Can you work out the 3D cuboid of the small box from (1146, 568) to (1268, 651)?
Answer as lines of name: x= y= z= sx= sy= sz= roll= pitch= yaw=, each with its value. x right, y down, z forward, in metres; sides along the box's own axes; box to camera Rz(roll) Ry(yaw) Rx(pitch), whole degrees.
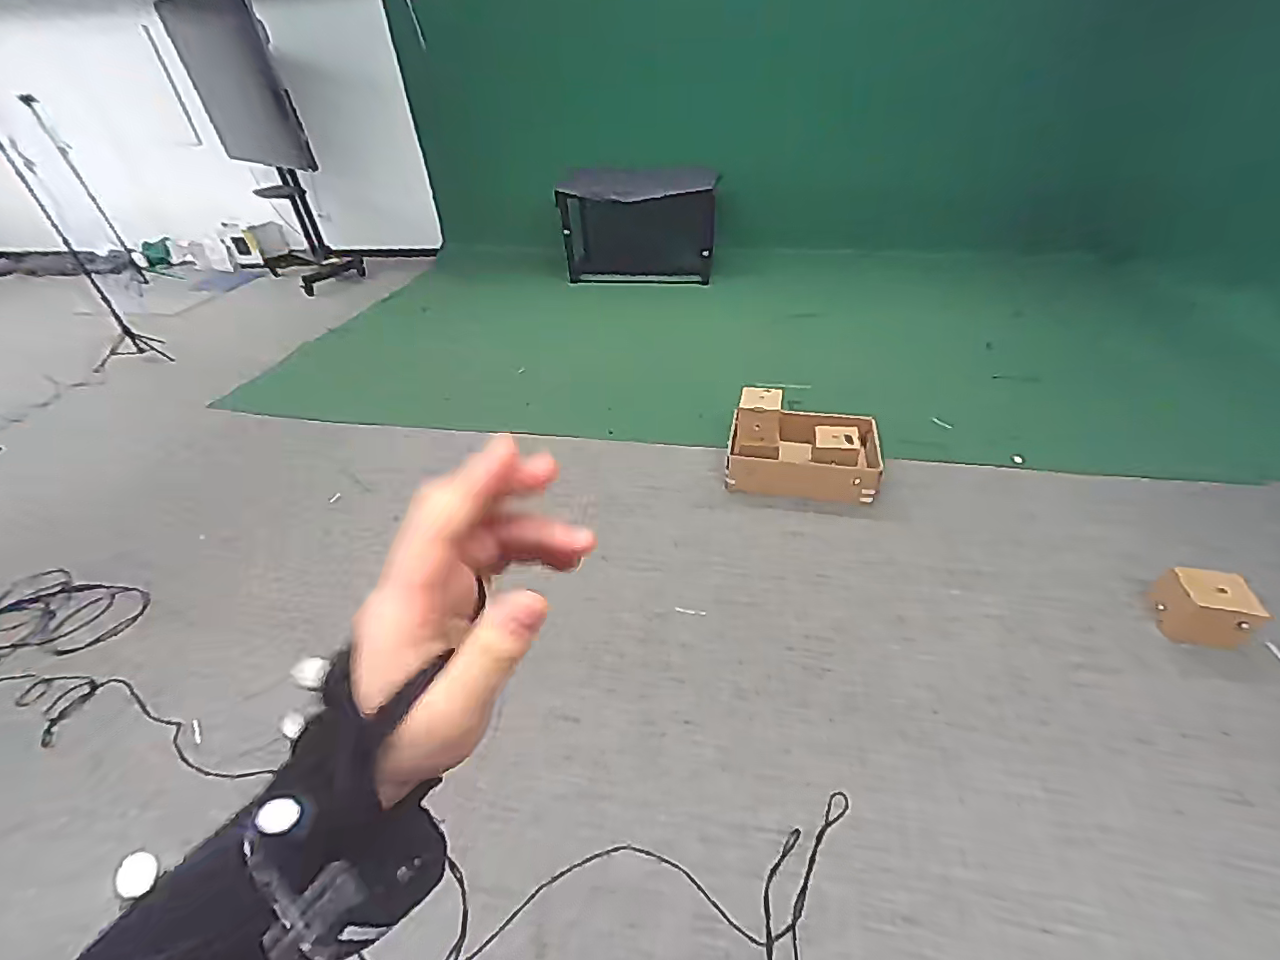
small box: x=1.734 y=0.401 z=1.667 sx=0.179 sy=0.176 sz=0.168 roll=8 pitch=39 yaw=15

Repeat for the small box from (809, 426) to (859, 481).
small box: x=0.826 y=-0.111 z=2.309 sx=0.179 sy=0.176 sz=0.168 roll=5 pitch=40 yaw=13

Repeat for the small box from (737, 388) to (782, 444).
small box: x=0.500 y=-0.268 z=2.274 sx=0.168 sy=0.176 sz=0.179 roll=7 pitch=41 yaw=14
